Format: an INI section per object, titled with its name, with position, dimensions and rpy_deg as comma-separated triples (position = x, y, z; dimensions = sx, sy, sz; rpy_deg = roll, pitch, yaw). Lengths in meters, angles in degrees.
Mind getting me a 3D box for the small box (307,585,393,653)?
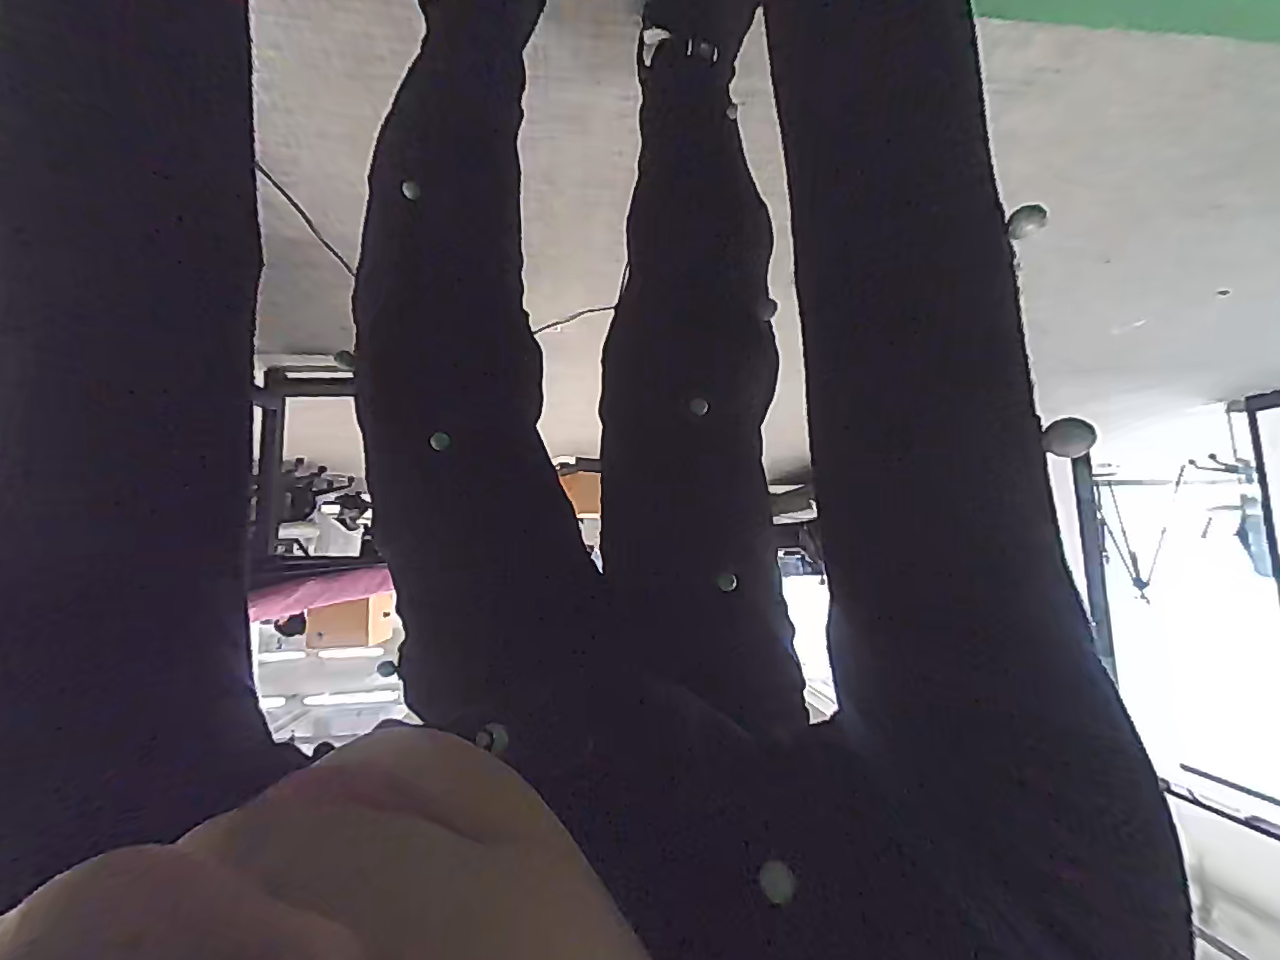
[small box]
position = -0.840, 0.399, 1.579
dimensions = 0.179, 0.176, 0.168
rpy_deg = 0, 173, -3
